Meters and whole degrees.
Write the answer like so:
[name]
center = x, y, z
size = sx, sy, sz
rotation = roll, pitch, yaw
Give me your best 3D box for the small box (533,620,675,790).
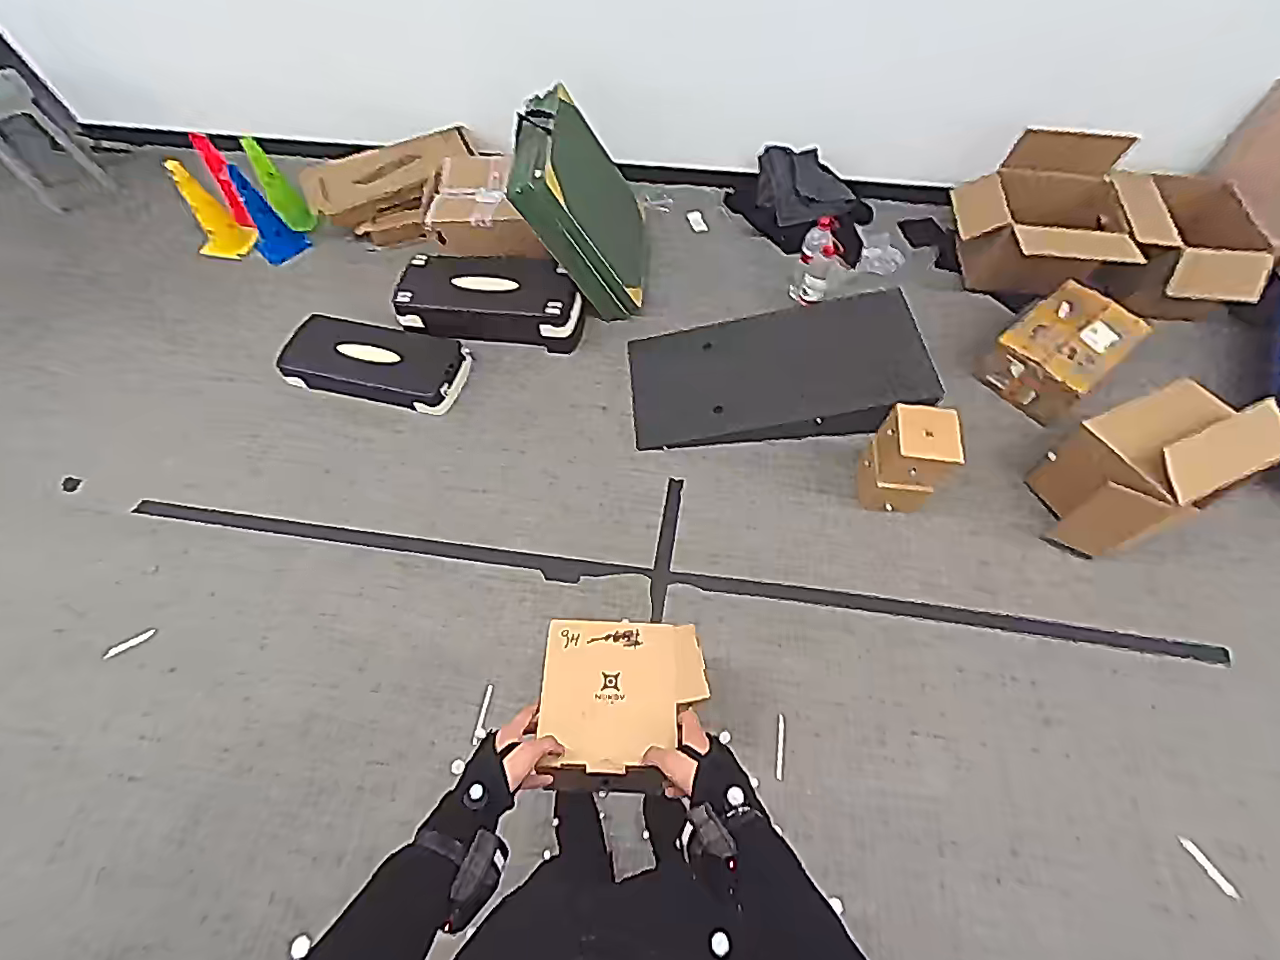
[small box]
center = -0.044, 0.307, 0.727
size = 0.168, 0.176, 0.179
rotation = 4, 52, -4
